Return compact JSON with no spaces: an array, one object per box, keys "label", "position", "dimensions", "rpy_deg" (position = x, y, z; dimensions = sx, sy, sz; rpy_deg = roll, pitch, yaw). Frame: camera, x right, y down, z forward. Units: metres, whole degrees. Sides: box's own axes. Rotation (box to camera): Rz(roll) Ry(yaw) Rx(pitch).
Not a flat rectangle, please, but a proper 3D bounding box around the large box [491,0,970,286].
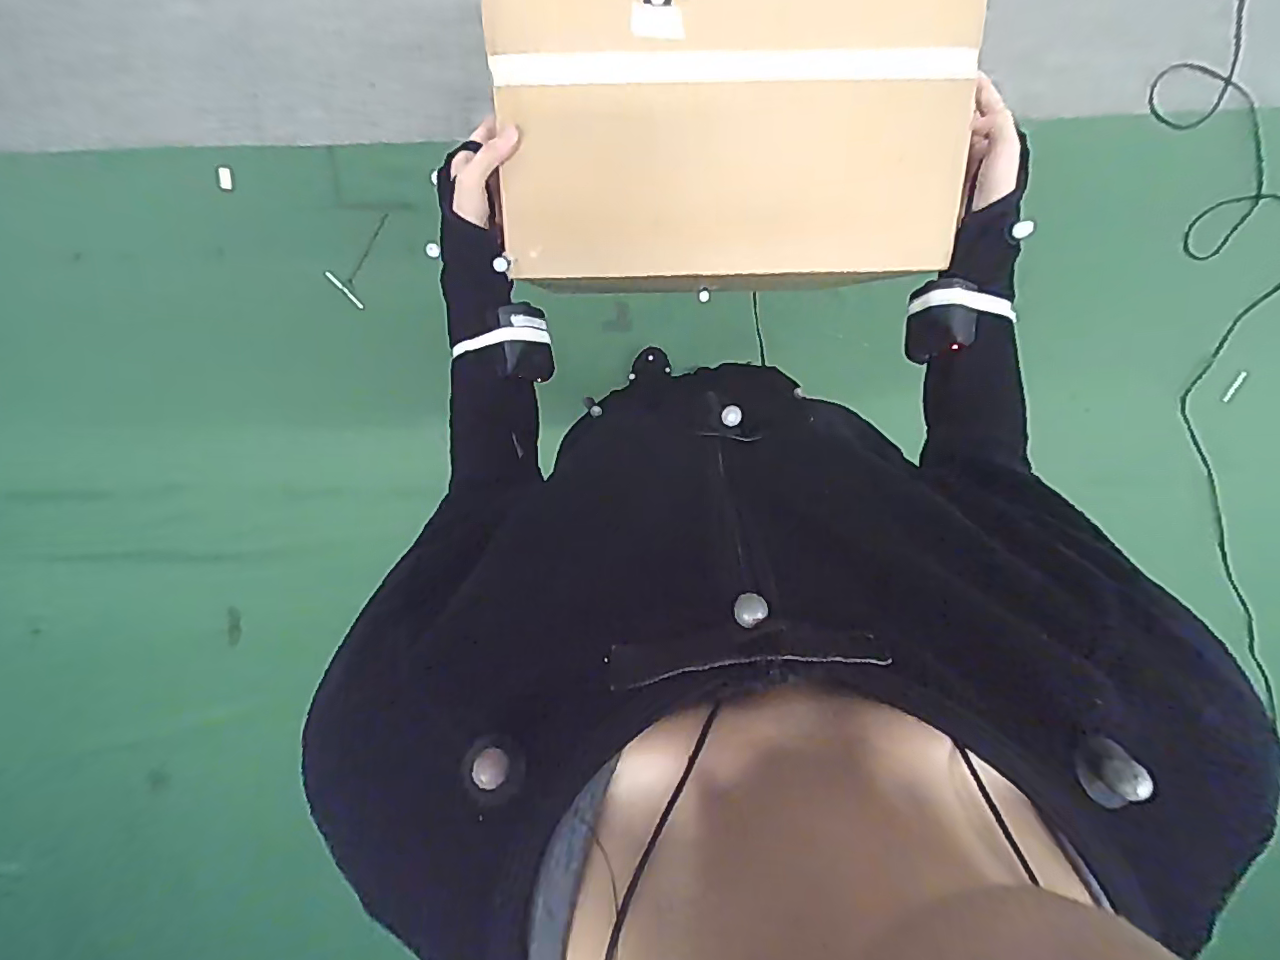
[{"label":"large box","position":[0.075,-0.390,0.603],"dimensions":[0.408,0.320,0.320],"rpy_deg":[-1,106,-1]}]
